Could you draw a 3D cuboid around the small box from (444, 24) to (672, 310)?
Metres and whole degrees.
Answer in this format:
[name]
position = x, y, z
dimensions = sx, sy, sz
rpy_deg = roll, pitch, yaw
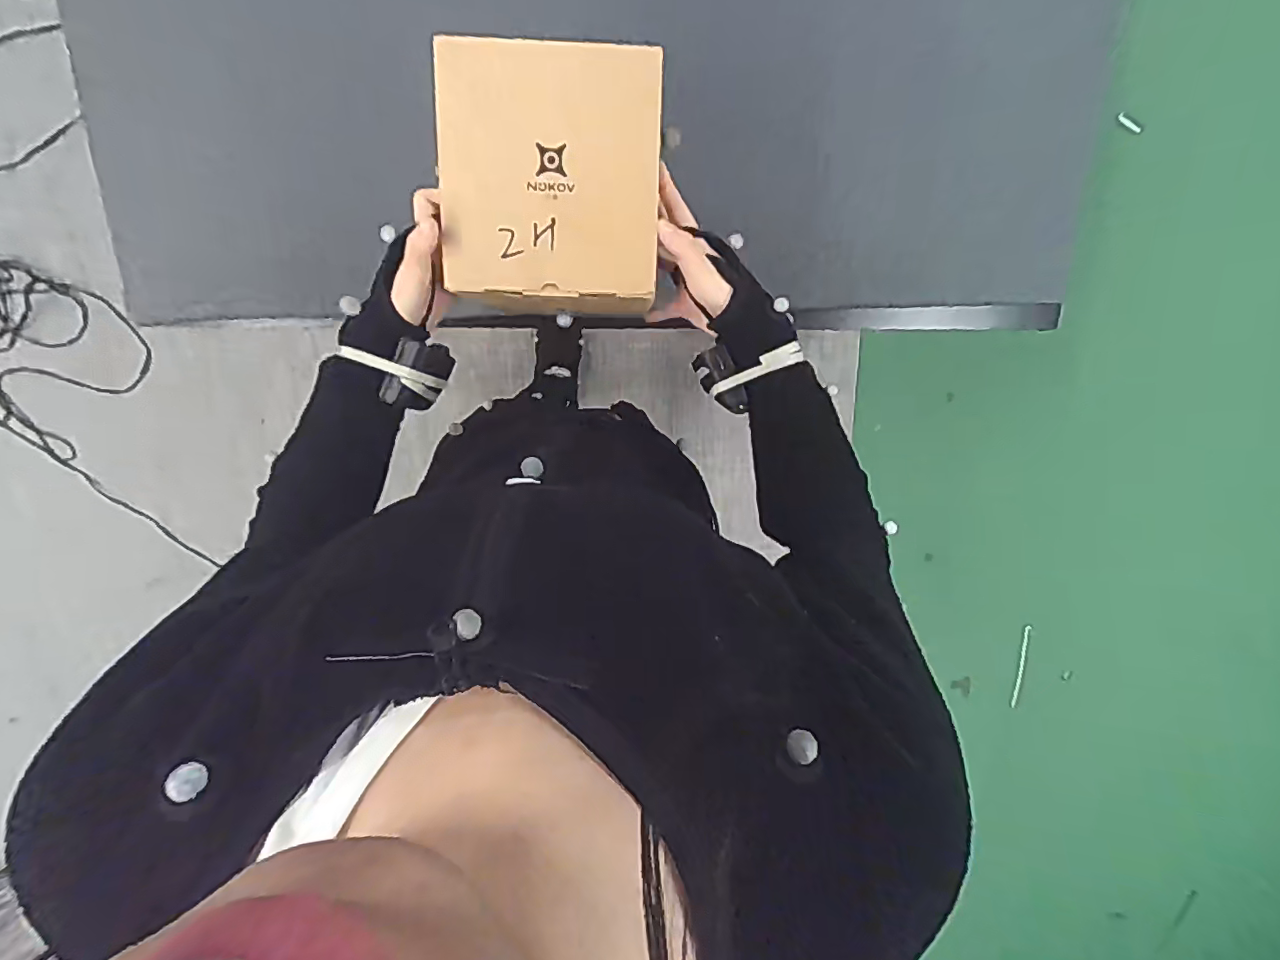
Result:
[small box]
position = -0.063, -0.253, 0.481
dimensions = 0.168, 0.176, 0.179
rpy_deg = 1, 103, -1
